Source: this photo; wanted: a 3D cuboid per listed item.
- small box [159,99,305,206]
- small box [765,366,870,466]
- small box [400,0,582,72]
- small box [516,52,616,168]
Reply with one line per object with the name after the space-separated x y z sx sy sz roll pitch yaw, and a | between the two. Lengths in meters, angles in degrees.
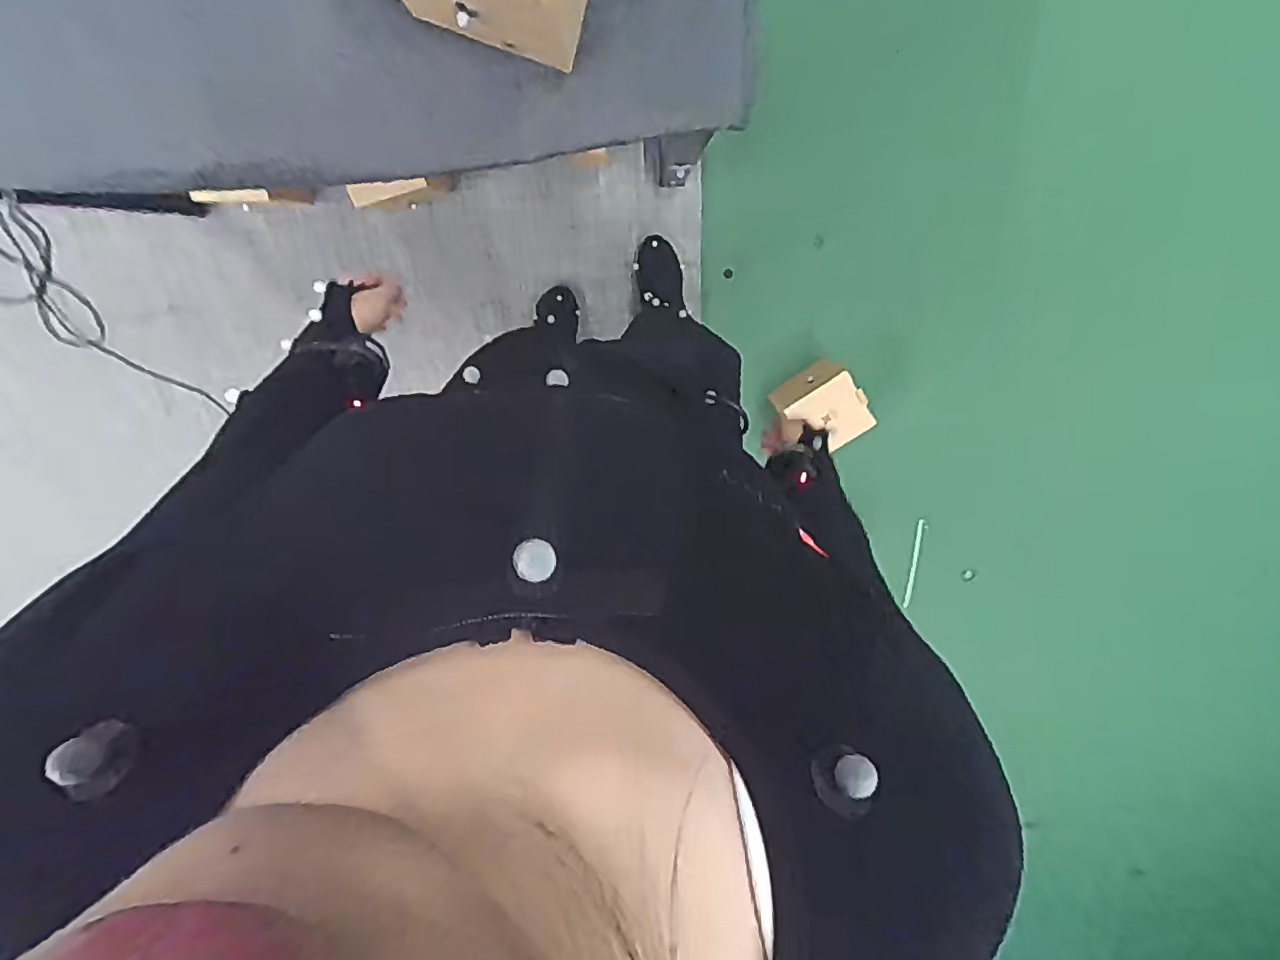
-0.850 -0.686 1.151 0.168 0.176 0.179 1 113 -1 | small box
0.445 -0.170 1.380 0.179 0.176 0.168 -33 109 12 | small box
-0.128 -0.482 0.445 0.168 0.176 0.179 16 109 -7 | small box
-0.149 -0.763 1.120 0.179 0.176 0.168 8 113 -6 | small box
